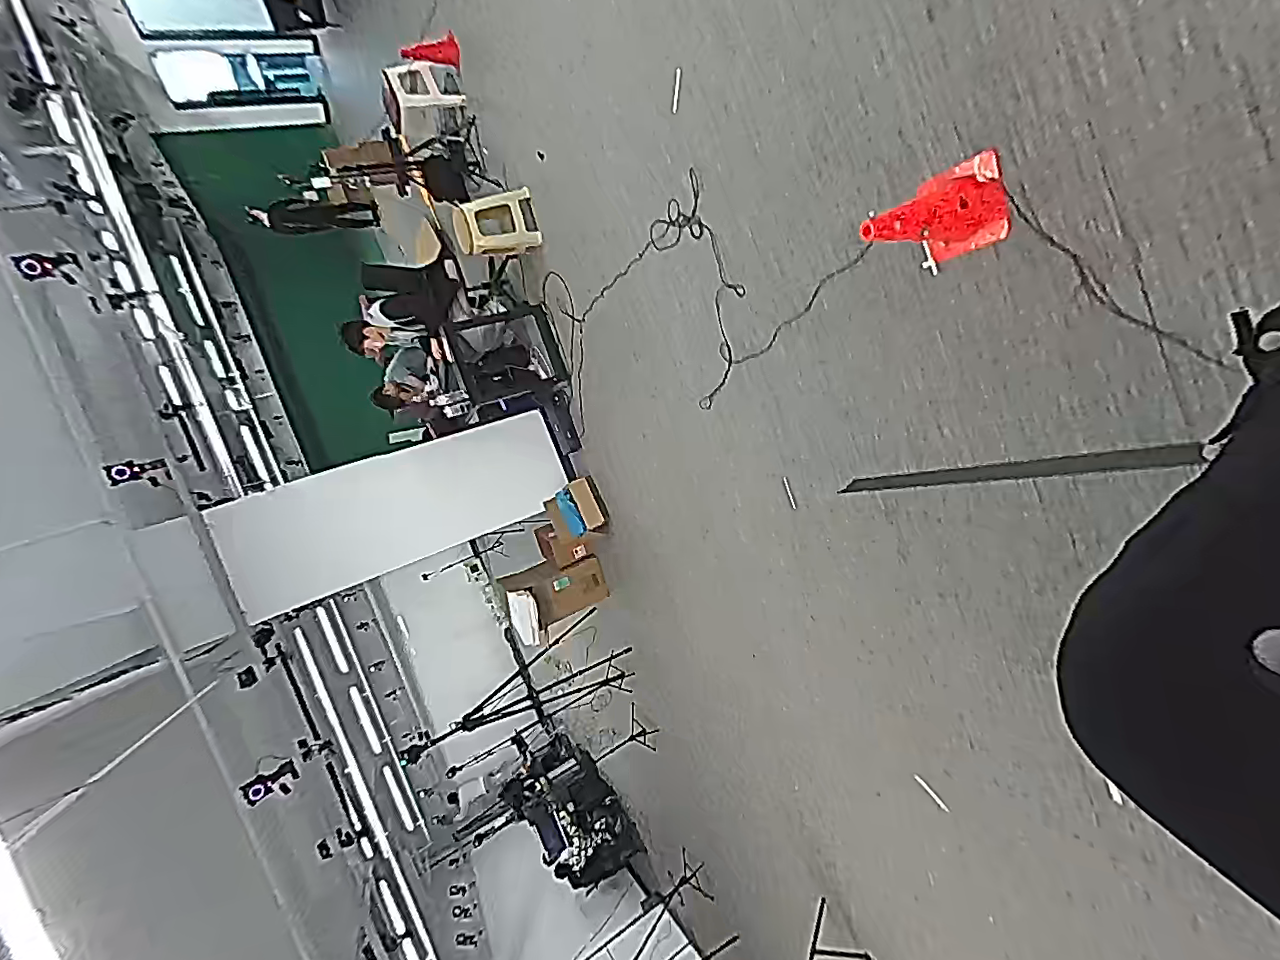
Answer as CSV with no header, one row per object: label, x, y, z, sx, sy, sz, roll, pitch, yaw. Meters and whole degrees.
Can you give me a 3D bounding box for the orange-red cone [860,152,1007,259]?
orange-red cone,0.644,-0.607,1.254,0.199,0.360,0.198,3,113,62
